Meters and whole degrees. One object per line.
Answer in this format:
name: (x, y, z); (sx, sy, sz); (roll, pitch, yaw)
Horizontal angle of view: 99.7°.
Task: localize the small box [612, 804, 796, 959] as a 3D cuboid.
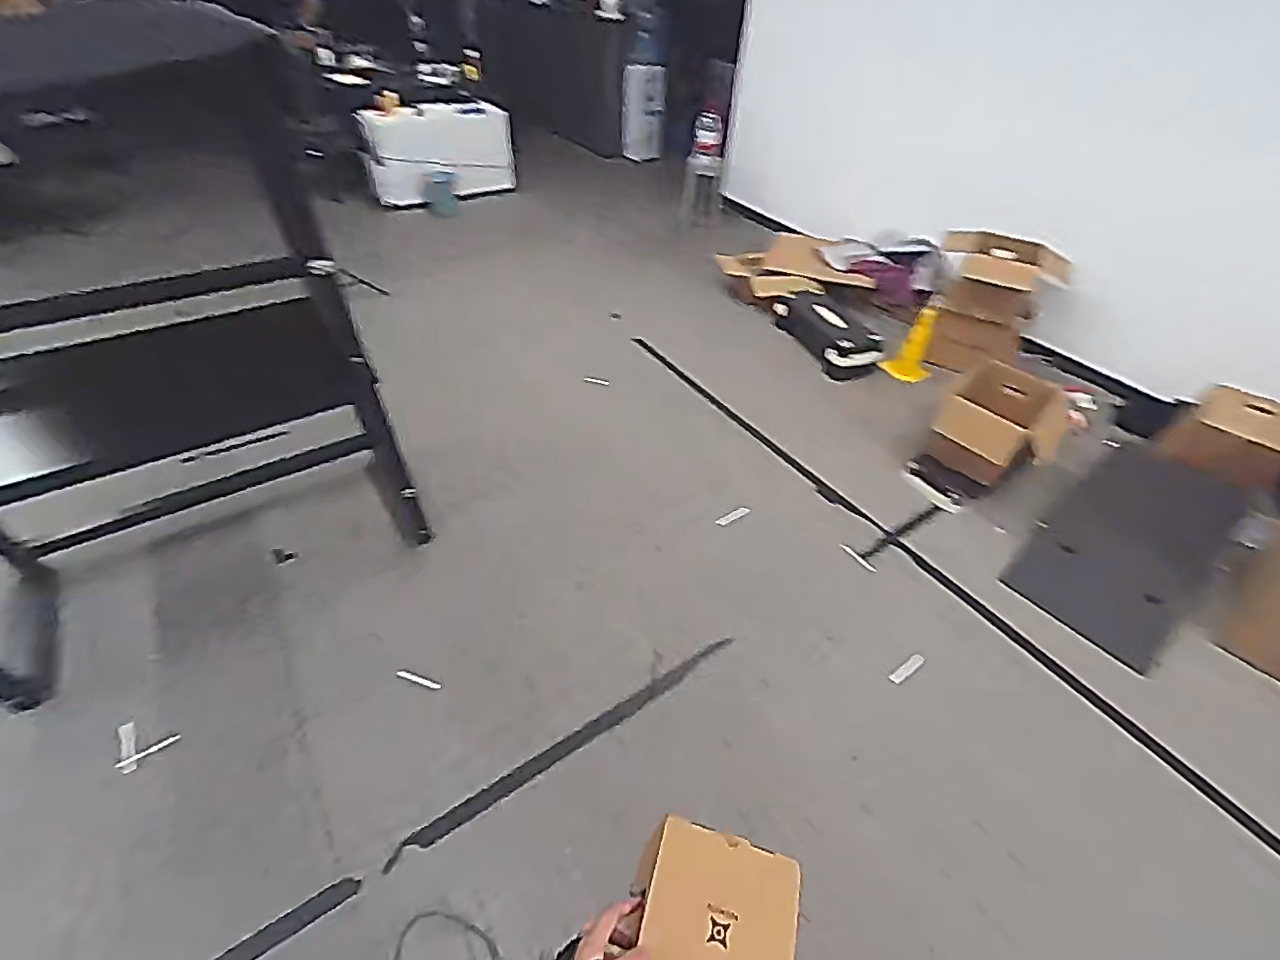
small box: (0.068, 0.517, 0.626); (0.168, 0.176, 0.179); (17, 45, 5)
